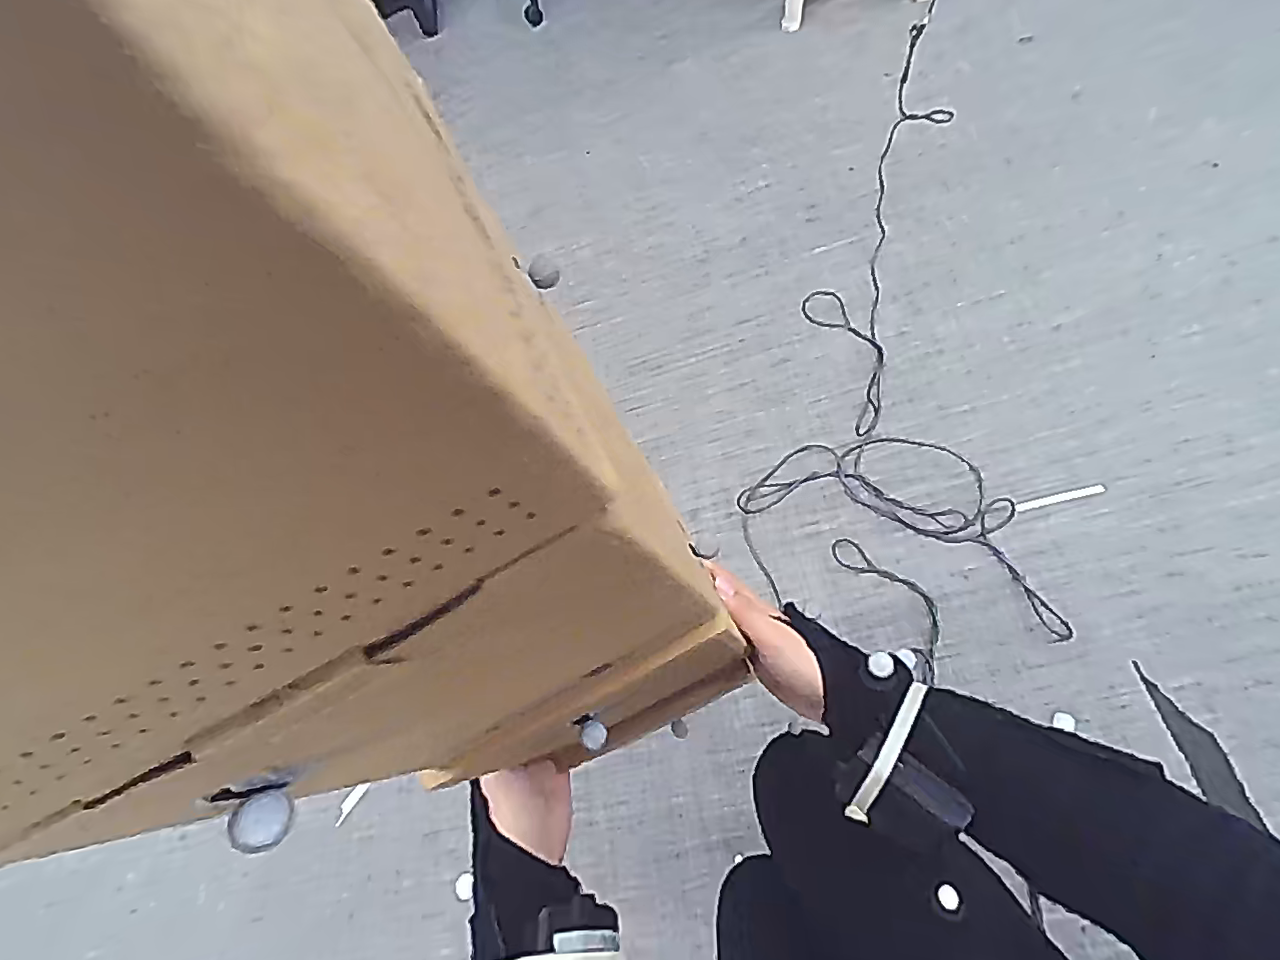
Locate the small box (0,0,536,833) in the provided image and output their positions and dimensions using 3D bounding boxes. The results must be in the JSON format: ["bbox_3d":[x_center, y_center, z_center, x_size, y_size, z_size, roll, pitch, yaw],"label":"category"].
[{"bbox_3d":[-0.135,-0.047,0.079,0.179,0.176,0.168,-29,64,5],"label":"small box"}]

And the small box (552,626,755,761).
[{"bbox_3d":[-0.005,0.138,0.517,0.168,0.176,0.179,-29,66,4],"label":"small box"}]

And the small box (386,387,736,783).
[{"bbox_3d":[-0.046,0.074,0.374,0.179,0.176,0.168,-30,65,4],"label":"small box"}]
